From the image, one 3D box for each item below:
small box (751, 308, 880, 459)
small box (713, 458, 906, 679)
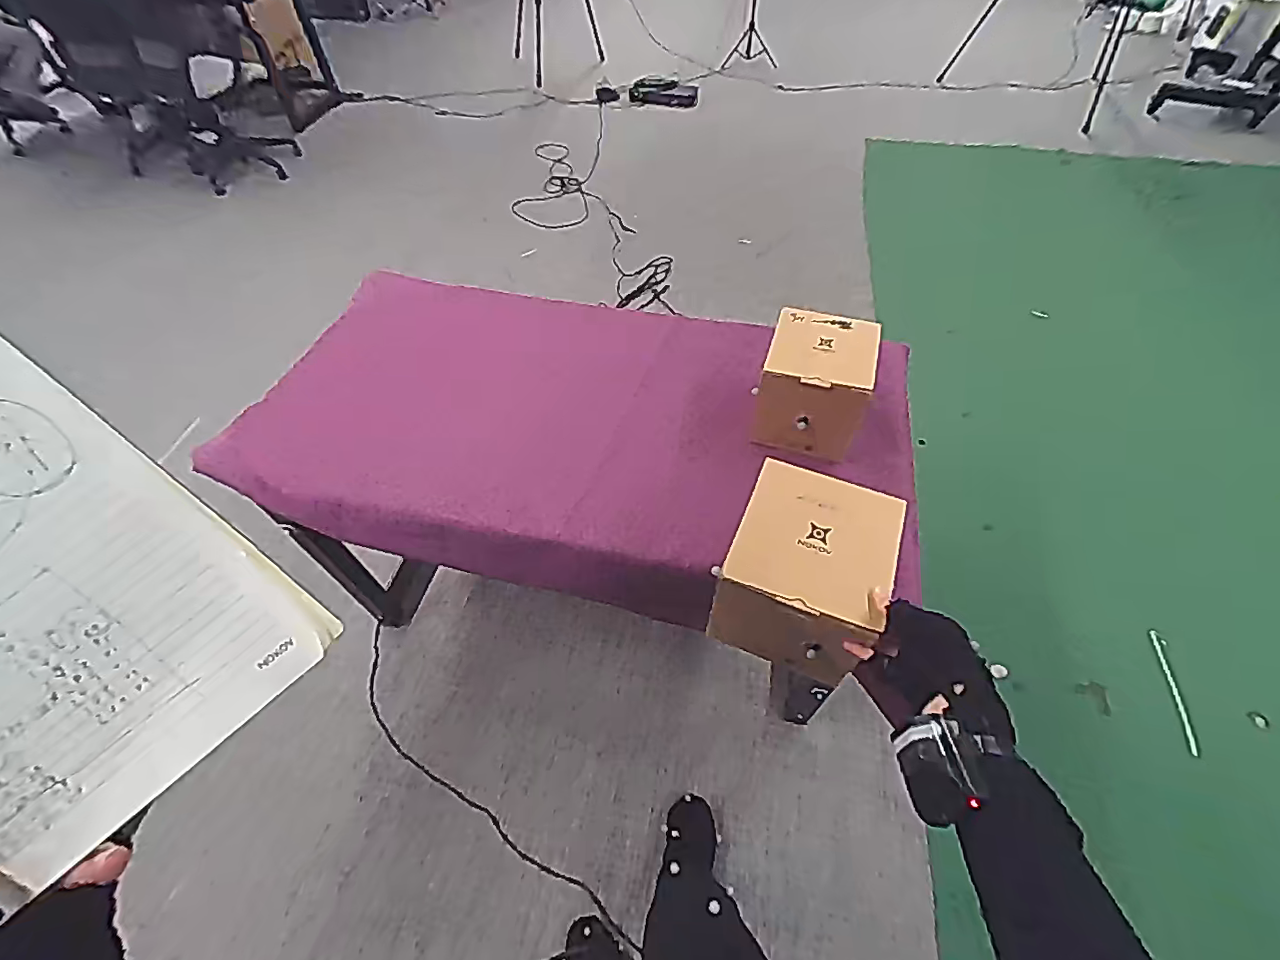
[{"bbox_3d":[0.293,-0.162,0.925,0.168,0.176,0.179,15,55,13],"label":"small box"},{"bbox_3d":[0.192,0.110,0.646,0.168,0.176,0.179,20,55,15],"label":"small box"}]
